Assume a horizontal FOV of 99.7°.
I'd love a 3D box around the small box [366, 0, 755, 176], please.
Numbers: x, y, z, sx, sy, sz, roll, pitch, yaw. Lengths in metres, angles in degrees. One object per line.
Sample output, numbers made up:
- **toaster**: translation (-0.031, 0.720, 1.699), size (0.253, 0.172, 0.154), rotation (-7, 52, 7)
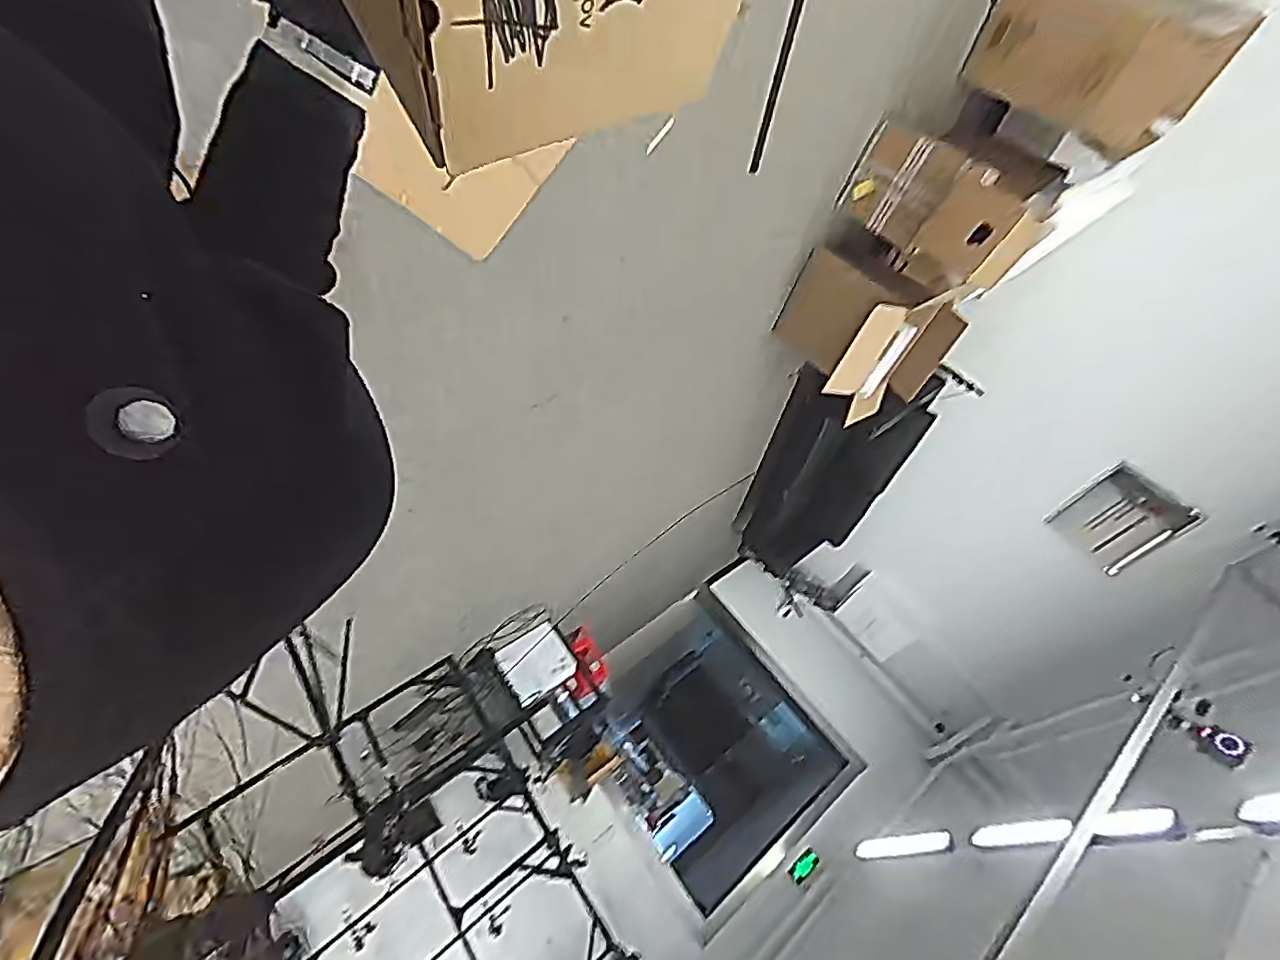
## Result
- **small box**: translation (-0.047, -0.288, 0.243), size (0.179, 0.176, 0.168), rotation (-30, 177, -17)
